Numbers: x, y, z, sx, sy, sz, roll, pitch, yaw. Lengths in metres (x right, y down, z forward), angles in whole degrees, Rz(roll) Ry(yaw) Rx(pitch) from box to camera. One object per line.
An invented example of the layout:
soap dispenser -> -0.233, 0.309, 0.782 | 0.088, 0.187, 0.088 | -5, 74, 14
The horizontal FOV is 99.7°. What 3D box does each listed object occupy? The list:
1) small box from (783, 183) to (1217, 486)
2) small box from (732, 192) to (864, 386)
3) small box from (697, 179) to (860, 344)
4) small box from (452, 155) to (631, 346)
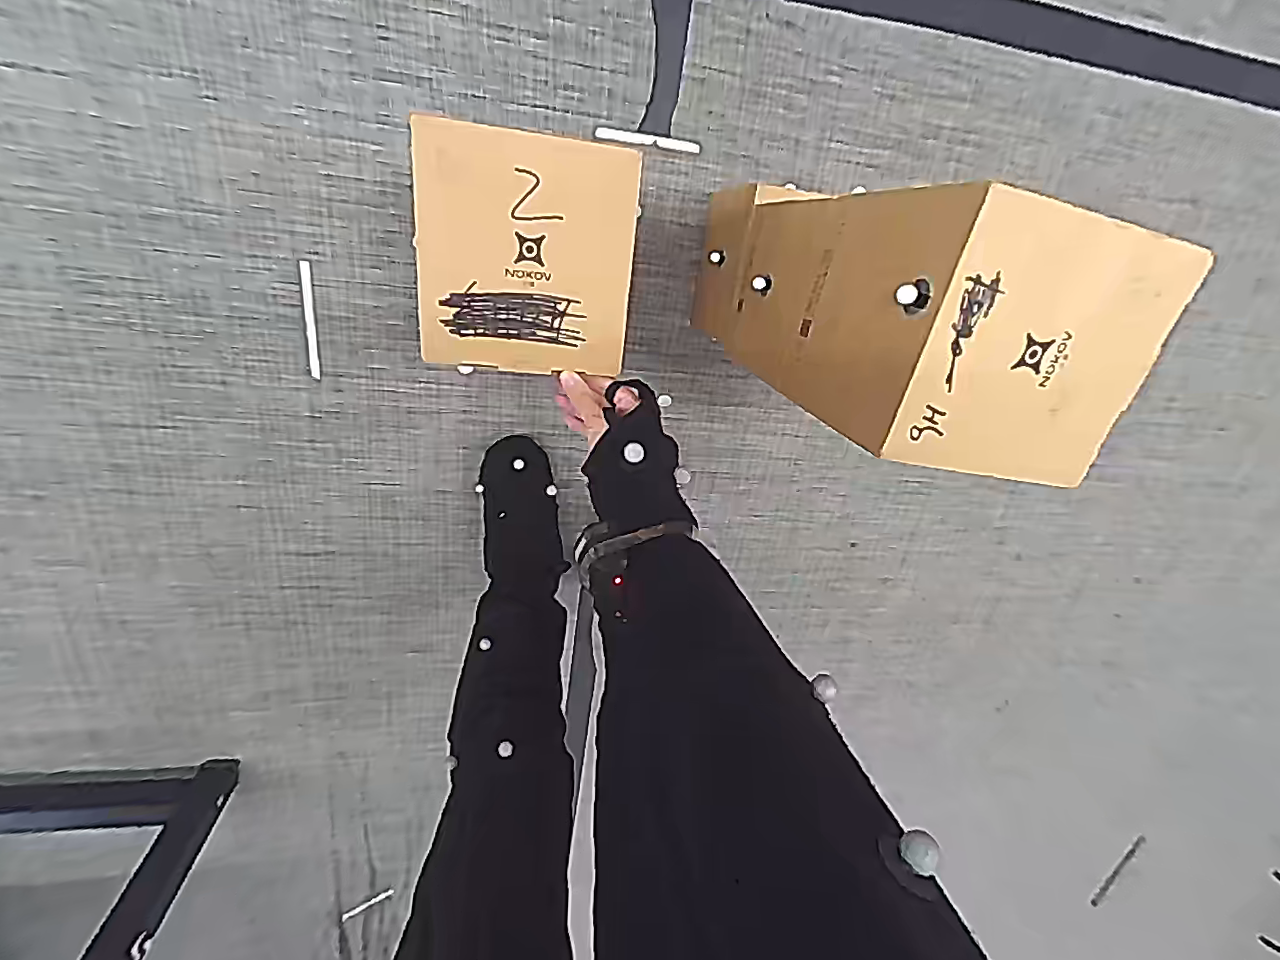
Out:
small box -> 0.241, -0.112, 0.412 | 0.179, 0.176, 0.168 | 7, 114, -16
small box -> 0.213, -0.185, 0.556 | 0.179, 0.176, 0.168 | 4, 115, -14
small box -> 0.181, -0.270, 0.694 | 0.168, 0.176, 0.179 | 2, 114, -13
small box -> -0.119, -0.264, 0.638 | 0.179, 0.176, 0.168 | 3, 114, -13
